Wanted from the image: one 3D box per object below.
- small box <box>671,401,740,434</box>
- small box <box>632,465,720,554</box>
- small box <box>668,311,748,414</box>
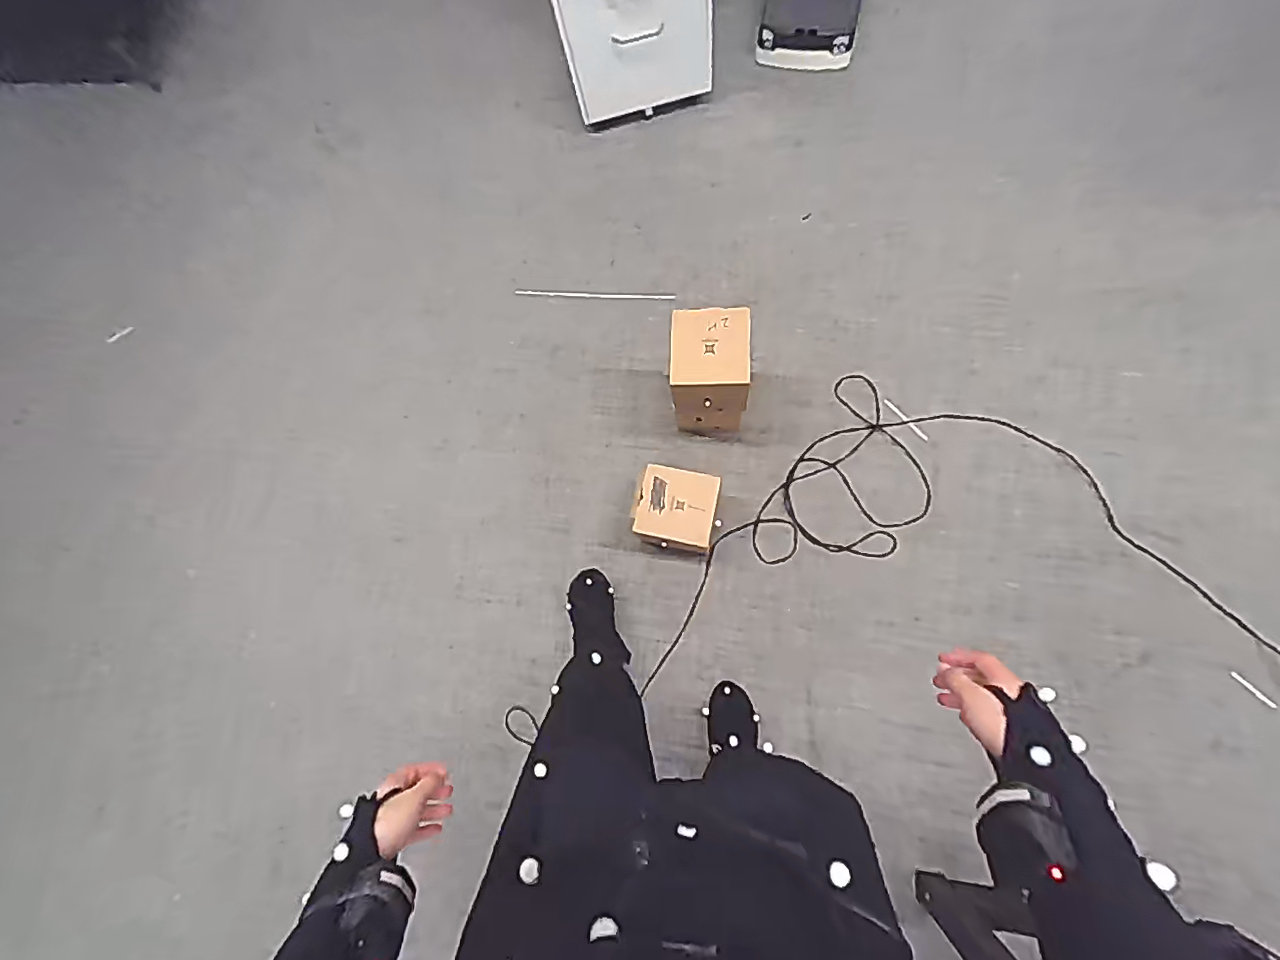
[{"bbox_3d":[0.173,-0.223,1.370,0.168,0.176,0.179,2,76,9],"label":"small box"},{"bbox_3d":[0.092,0.077,1.305,0.179,0.176,0.168,11,78,10],"label":"small box"},{"bbox_3d":[0.154,-0.254,1.209,0.168,0.176,0.179,1,75,8],"label":"small box"}]
